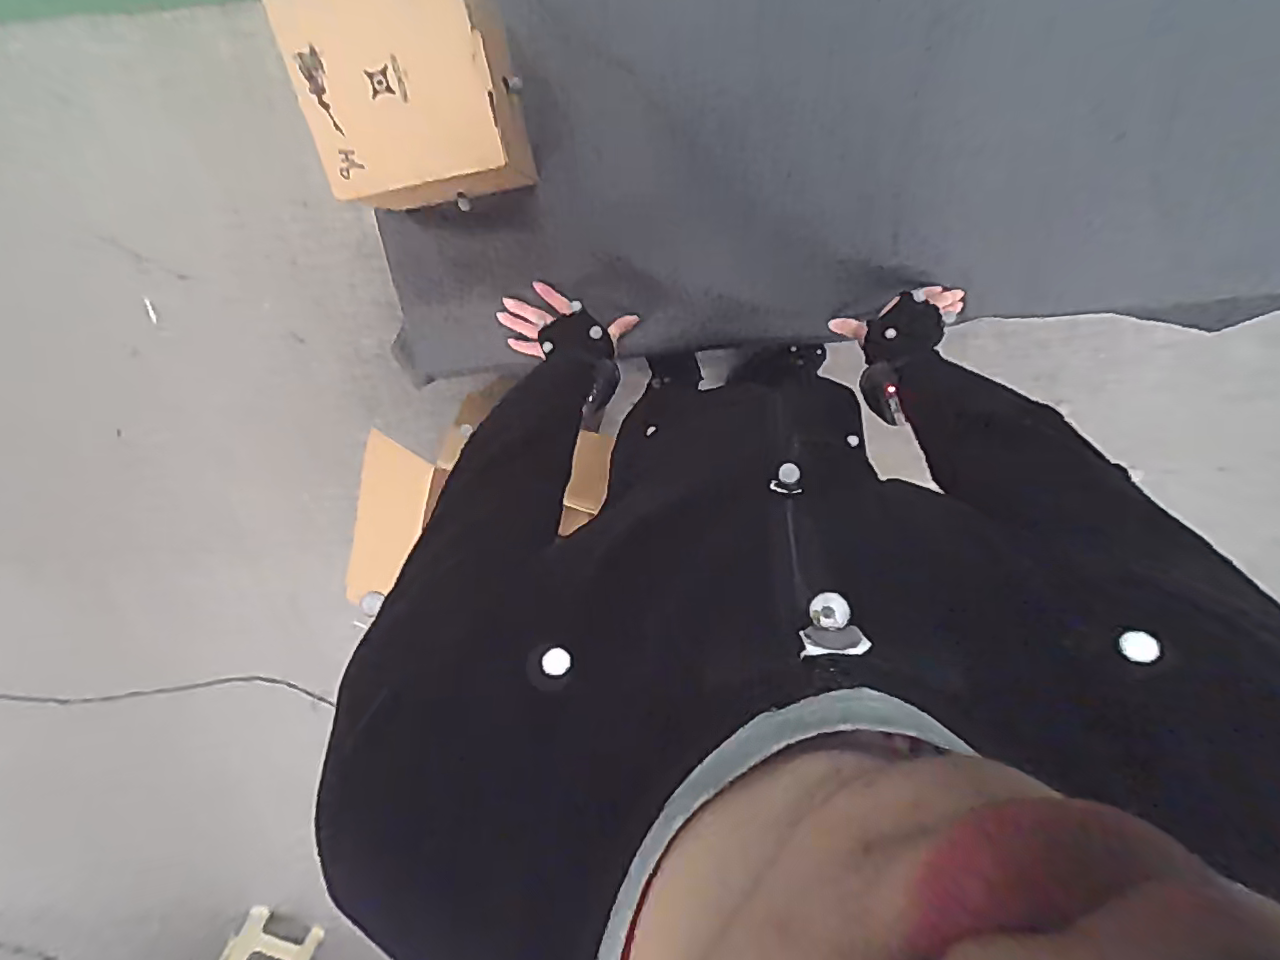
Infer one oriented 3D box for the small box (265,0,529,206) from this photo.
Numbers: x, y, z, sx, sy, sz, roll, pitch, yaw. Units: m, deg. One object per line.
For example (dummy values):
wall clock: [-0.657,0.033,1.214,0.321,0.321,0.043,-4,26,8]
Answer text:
small box: [-0.220,-0.388,0.552,0.179,0.176,0.168,-9,113,4]
